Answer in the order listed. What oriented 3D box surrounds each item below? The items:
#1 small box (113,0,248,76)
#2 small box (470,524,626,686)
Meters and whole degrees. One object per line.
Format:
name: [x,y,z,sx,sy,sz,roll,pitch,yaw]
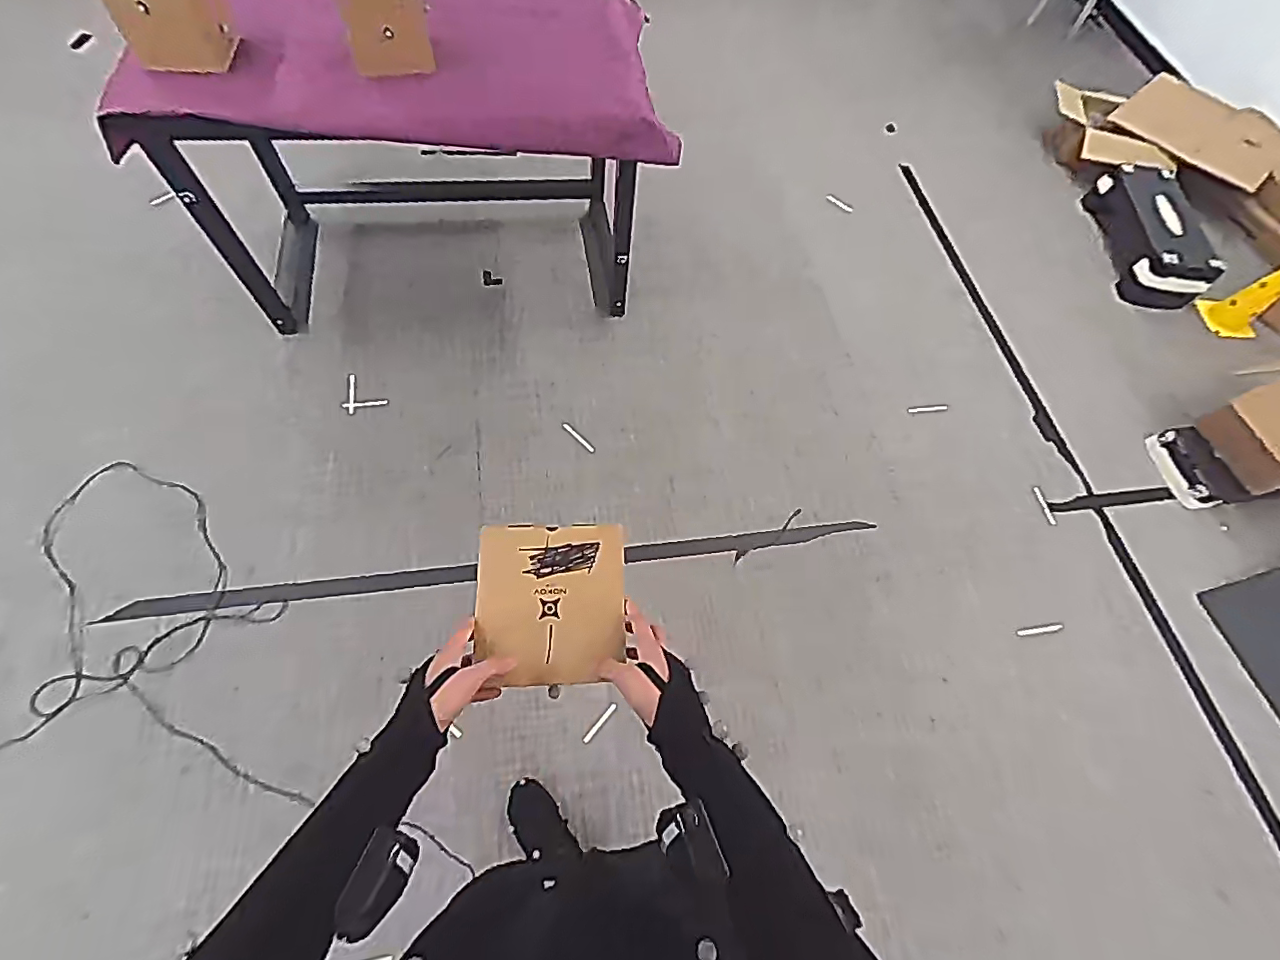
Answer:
small box: [-1.036,-1.047,1.218,0.179,0.176,0.168,-3,64,-8]
small box: [-0.104,0.161,0.675,0.168,0.176,0.179,-1,70,-3]
